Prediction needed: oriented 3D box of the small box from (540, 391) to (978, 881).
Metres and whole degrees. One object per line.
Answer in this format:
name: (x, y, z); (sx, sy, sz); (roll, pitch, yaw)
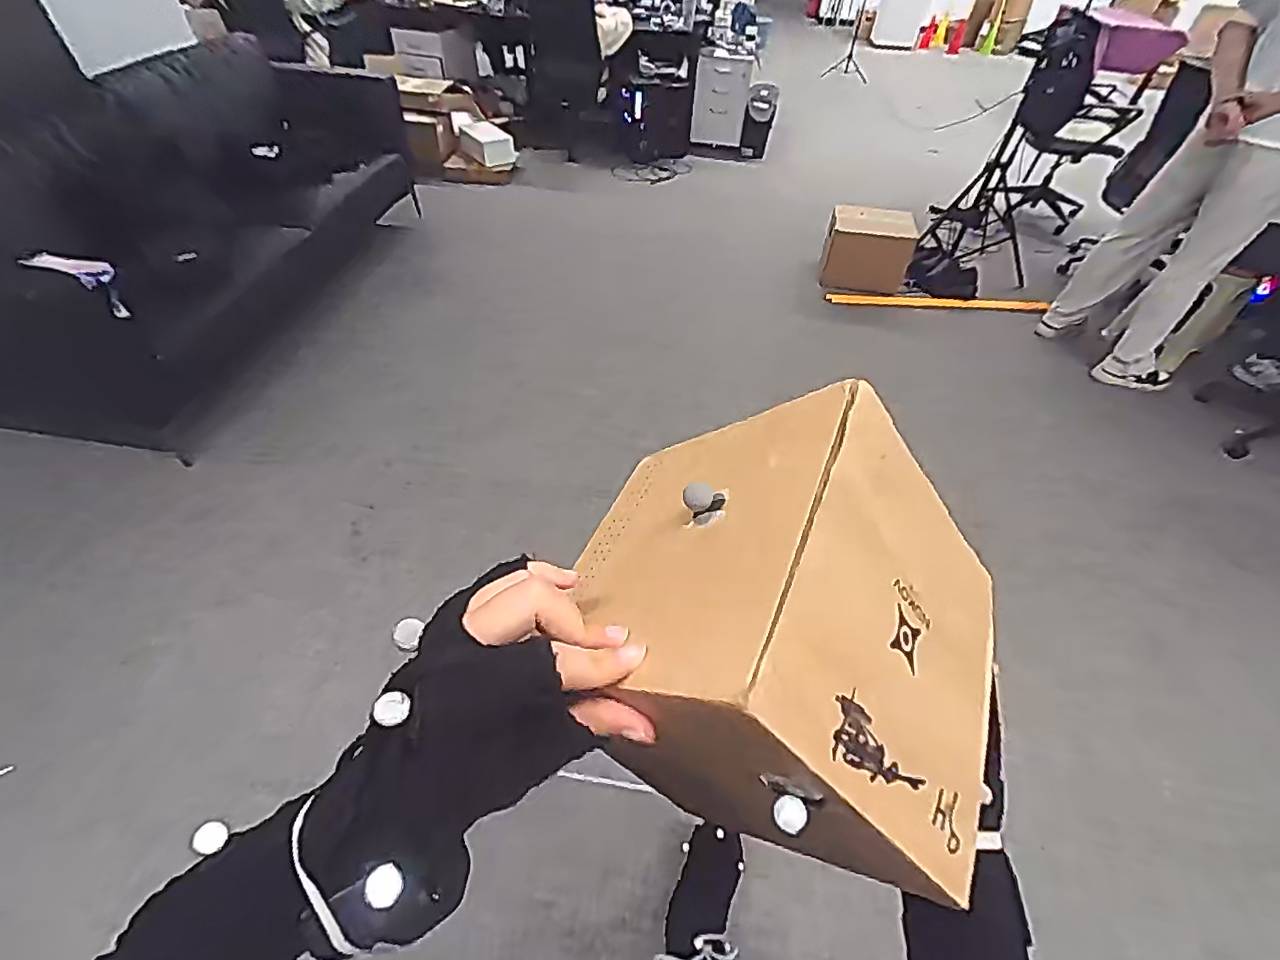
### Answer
small box: (0.072, 0.082, 0.321); (0.168, 0.176, 0.179); (47, 52, -20)
